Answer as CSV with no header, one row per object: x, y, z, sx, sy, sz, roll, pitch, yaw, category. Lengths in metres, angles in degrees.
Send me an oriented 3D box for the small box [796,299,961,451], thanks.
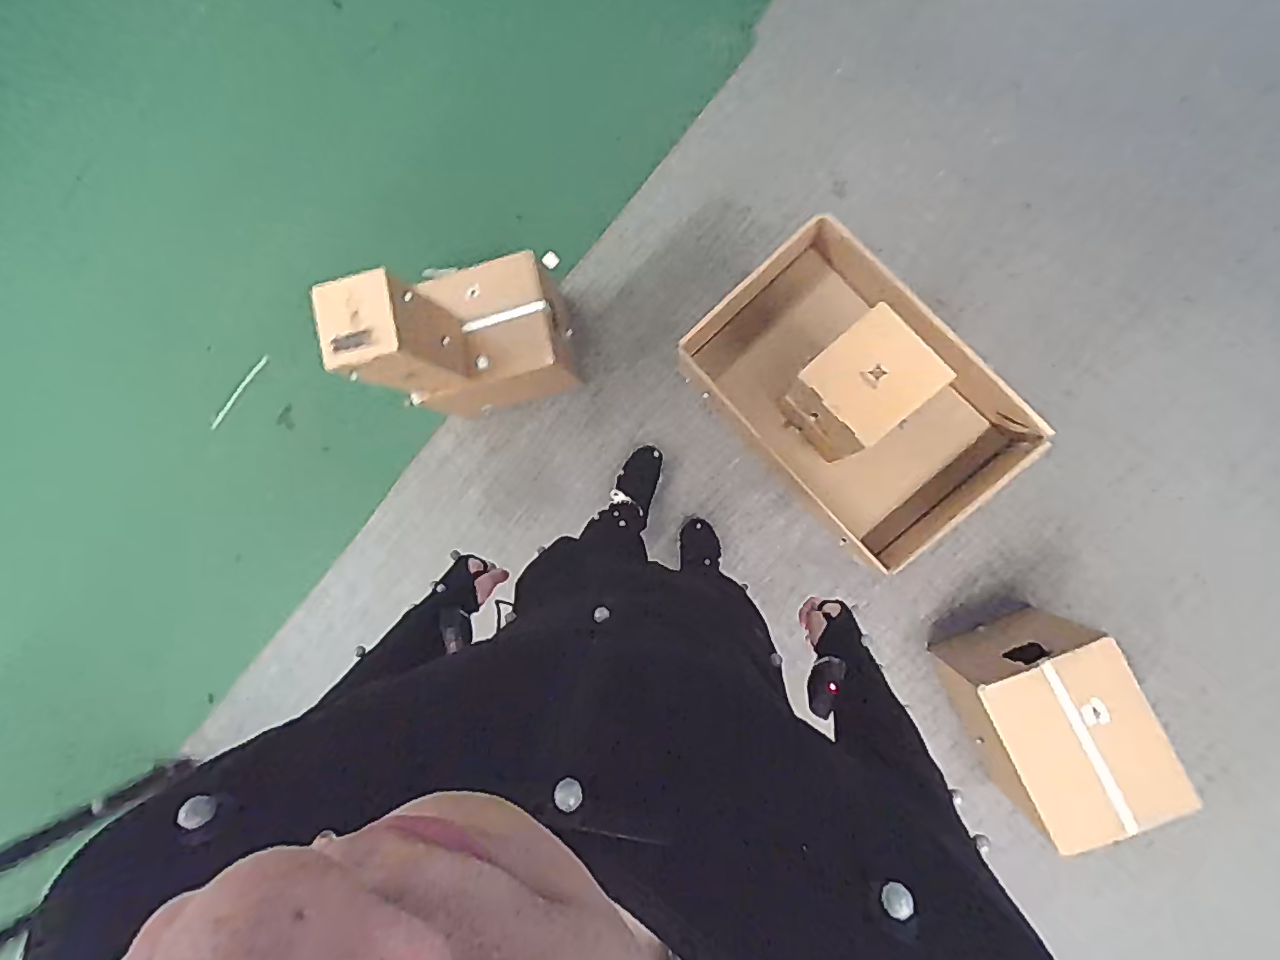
0.390,-0.167,0.924,0.179,0.176,0.168,-41,83,6,small box

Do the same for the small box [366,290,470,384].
-0.534,-0.340,1.325,0.168,0.176,0.179,-10,88,7,small box

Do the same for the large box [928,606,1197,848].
1.000,0.581,1.341,0.320,0.320,0.408,-25,85,7,large box
